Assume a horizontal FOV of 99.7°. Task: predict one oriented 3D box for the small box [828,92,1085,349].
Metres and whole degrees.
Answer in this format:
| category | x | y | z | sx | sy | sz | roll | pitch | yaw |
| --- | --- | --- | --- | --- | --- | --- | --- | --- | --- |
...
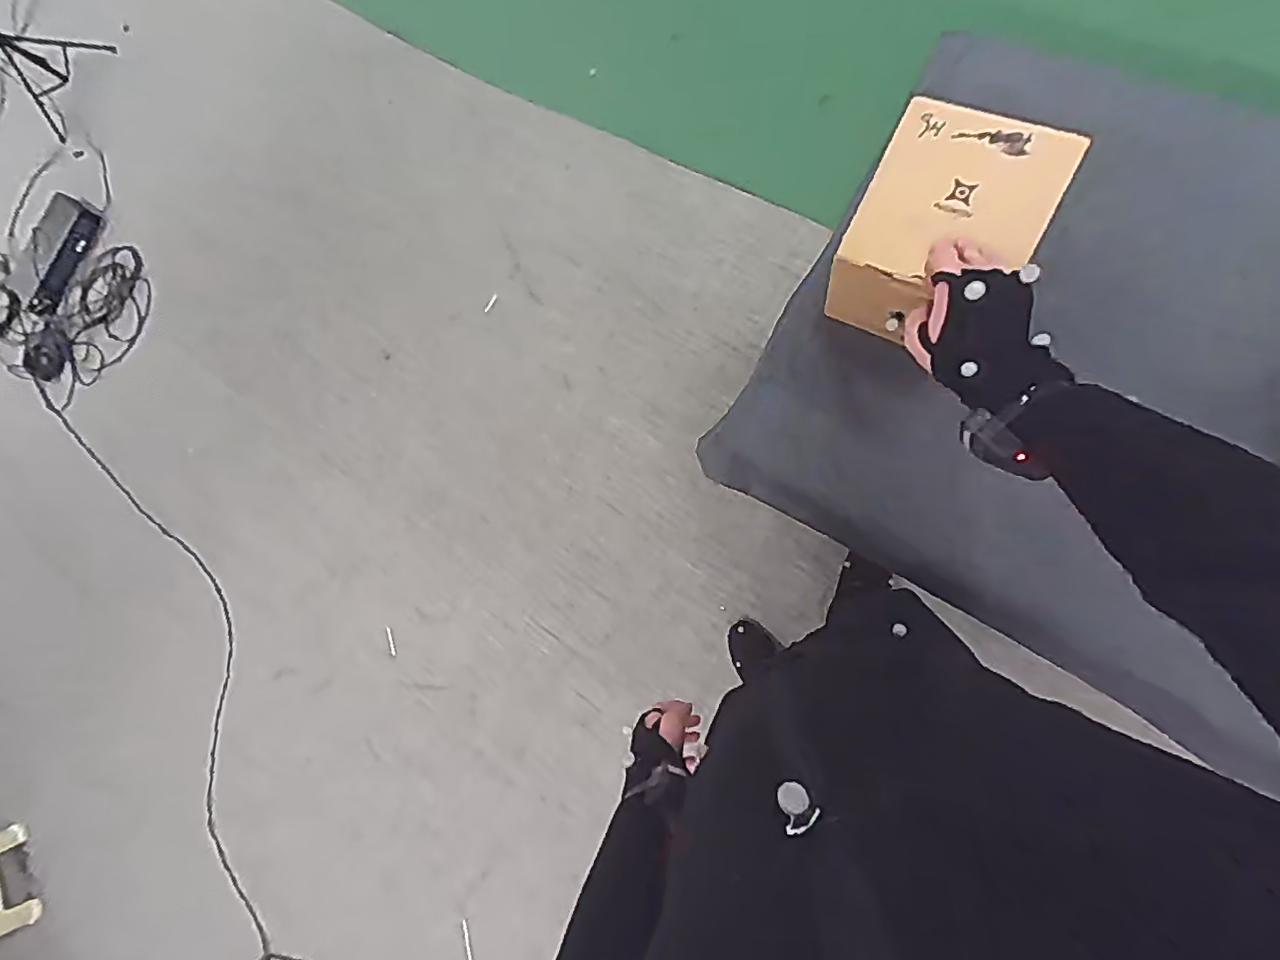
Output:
| category | x | y | z | sx | sy | sz | roll | pitch | yaw |
| --- | --- | --- | --- | --- | --- | --- | --- | --- | --- |
| small box | 0.321 | -0.267 | 0.594 | 0.168 | 0.176 | 0.179 | 27 | 94 | 15 |
